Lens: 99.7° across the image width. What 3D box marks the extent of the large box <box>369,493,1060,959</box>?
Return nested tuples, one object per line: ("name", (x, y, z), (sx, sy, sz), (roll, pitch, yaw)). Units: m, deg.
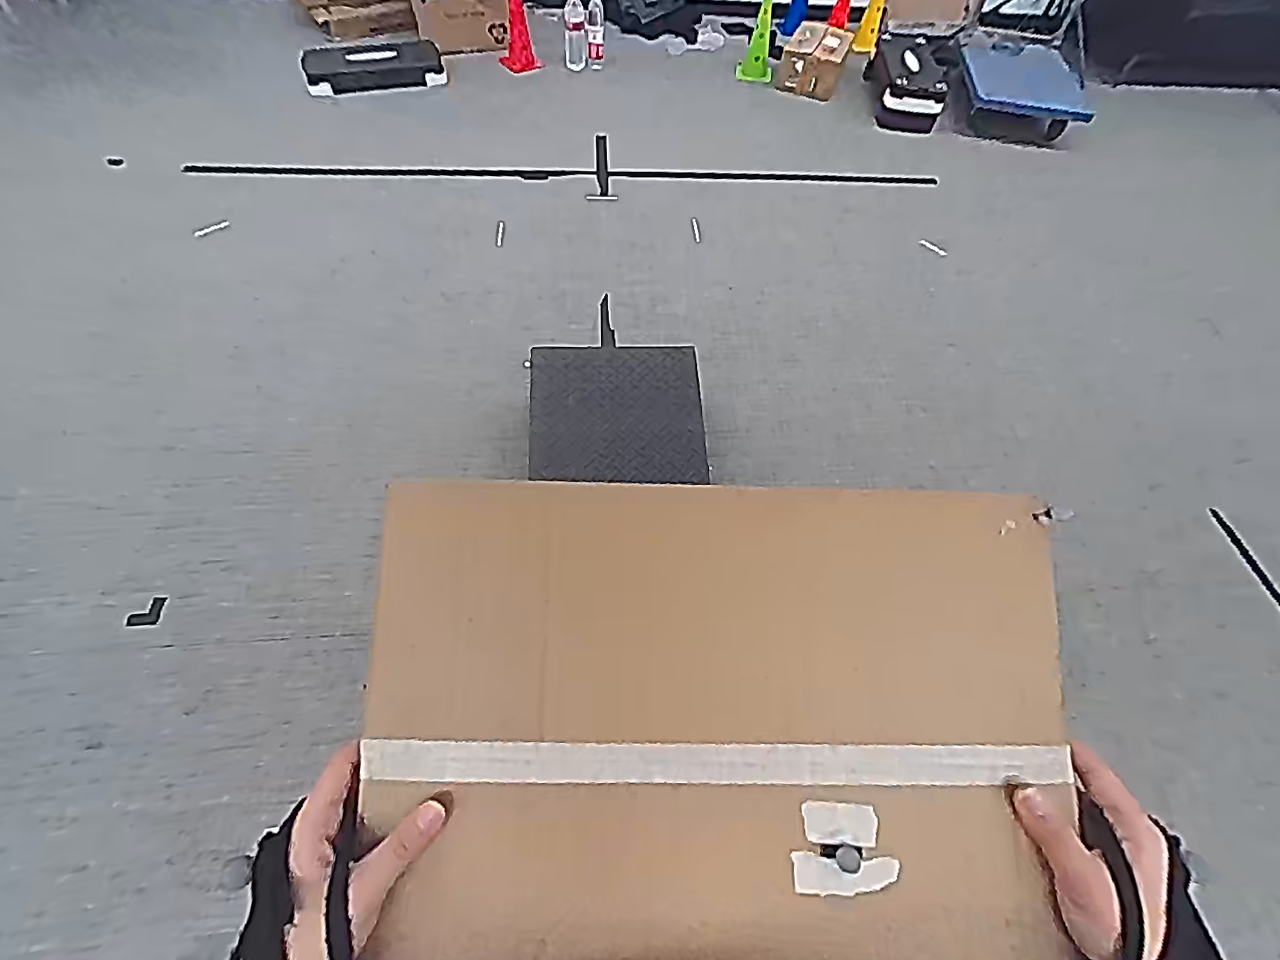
("large box", (0.039, 0.185, 0.470), (0.408, 0.320, 0.320), (1, 83, -2))
